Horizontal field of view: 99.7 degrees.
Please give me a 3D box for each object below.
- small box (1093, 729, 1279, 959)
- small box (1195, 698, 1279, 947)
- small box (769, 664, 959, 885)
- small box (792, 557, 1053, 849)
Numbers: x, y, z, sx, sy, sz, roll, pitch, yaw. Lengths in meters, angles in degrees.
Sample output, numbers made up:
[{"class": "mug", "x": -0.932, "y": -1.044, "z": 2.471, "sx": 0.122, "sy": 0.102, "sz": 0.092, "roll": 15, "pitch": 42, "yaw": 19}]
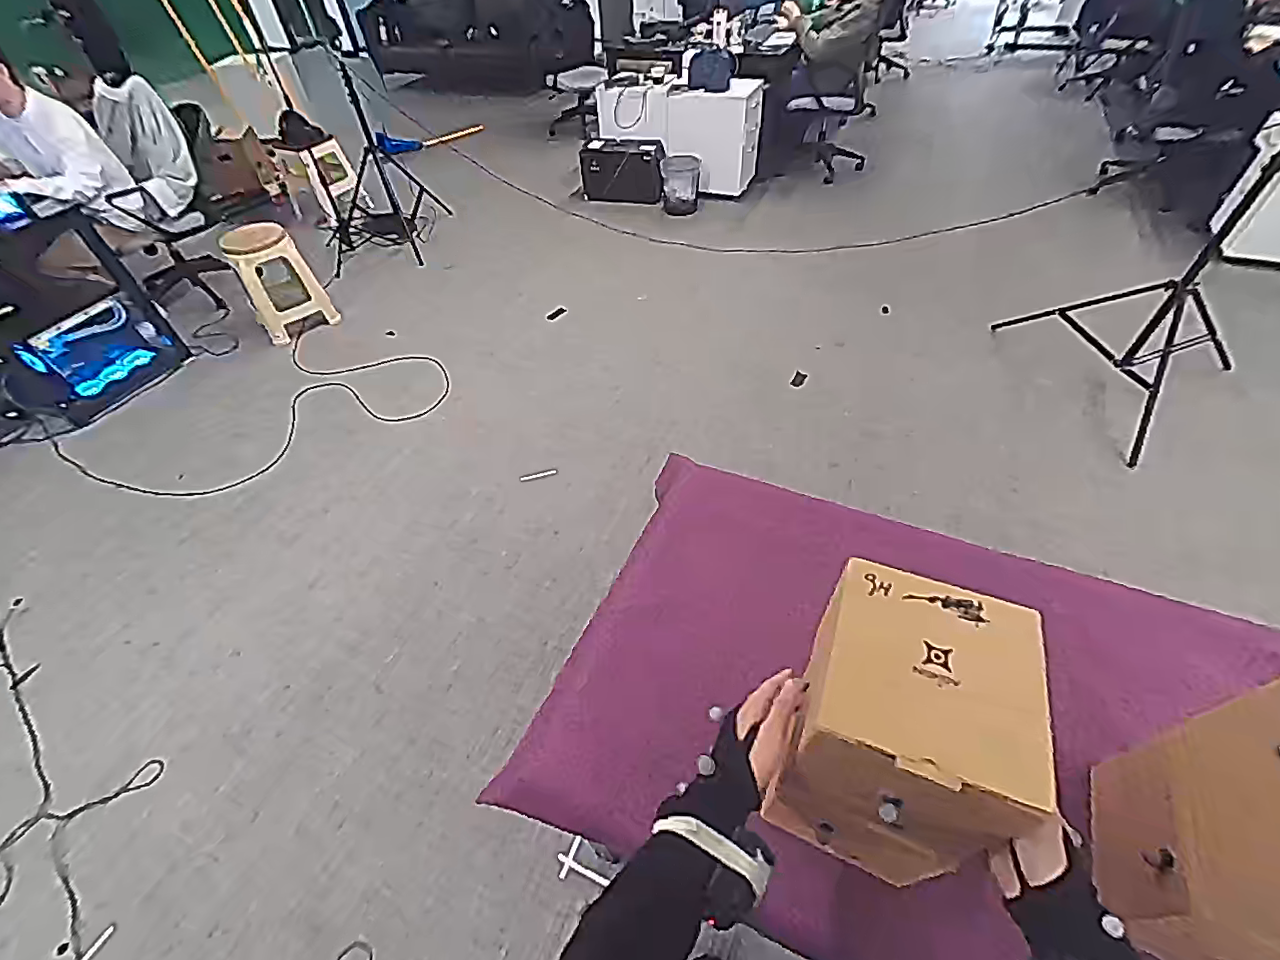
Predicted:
[{"class": "small box", "x": 0.594, "y": 0.394, "z": 0.540, "sx": 0.168, "sy": 0.176, "sz": 0.179, "roll": 20, "pitch": 52, "yaw": 20}, {"class": "small box", "x": 0.591, "y": 0.282, "z": 0.420, "sx": 0.168, "sy": 0.176, "sz": 0.179, "roll": 19, "pitch": 52, "yaw": 20}, {"class": "small box", "x": 0.255, "y": 0.326, "z": 0.623, "sx": 0.168, "sy": 0.176, "sz": 0.179, "roll": 18, "pitch": 50, "yaw": 19}, {"class": "small box", "x": 0.249, "y": 0.209, "z": 0.507, "sx": 0.168, "sy": 0.176, "sz": 0.179, "roll": 17, "pitch": 51, "yaw": 17}]
